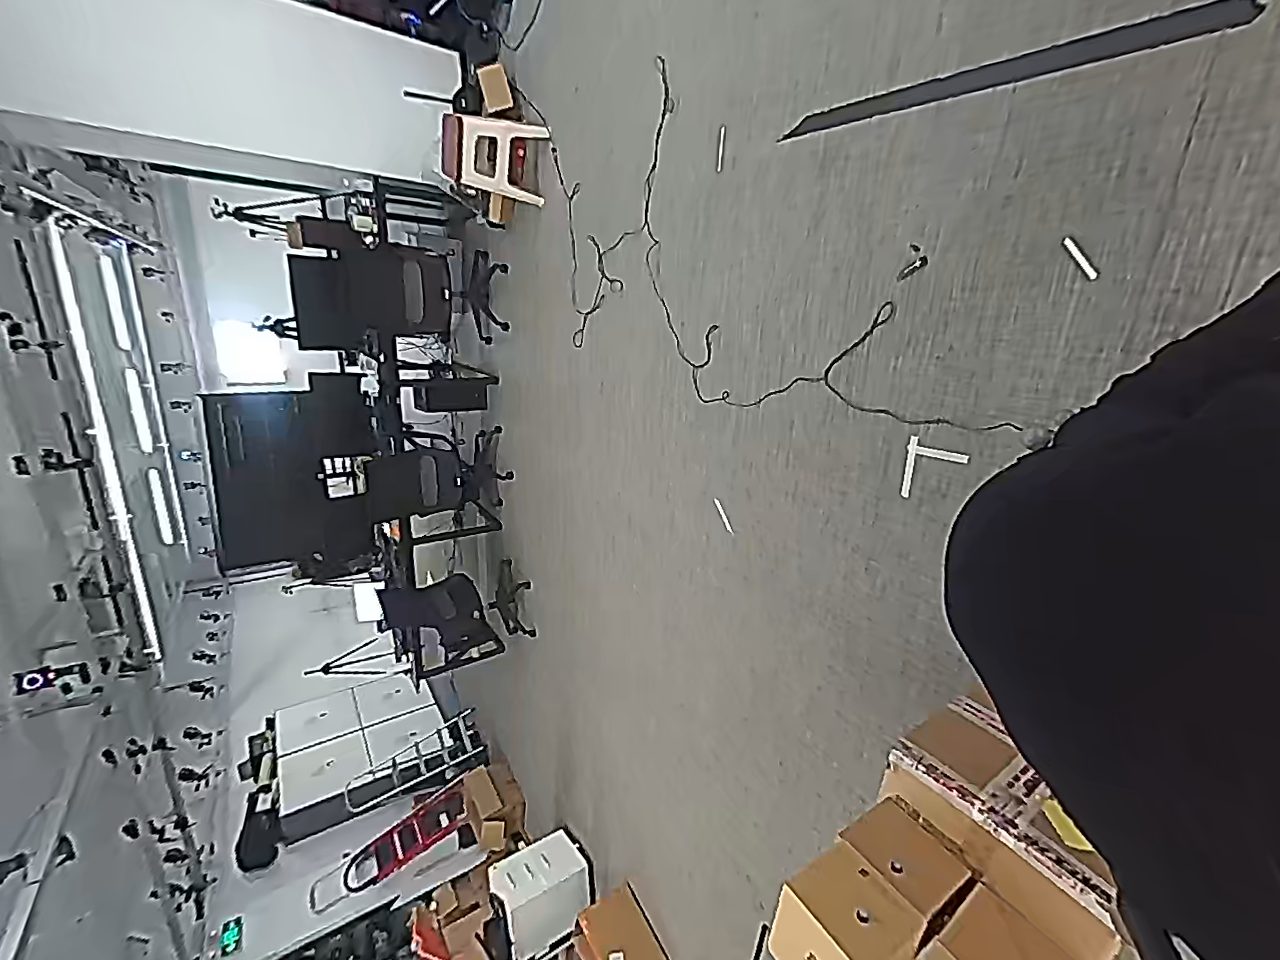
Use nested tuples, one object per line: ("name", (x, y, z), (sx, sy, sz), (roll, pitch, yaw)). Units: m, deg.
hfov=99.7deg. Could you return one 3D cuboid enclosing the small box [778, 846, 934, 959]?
("small box", (0.366, 0.779, 0.918), (0.168, 0.176, 0.179), (30, 122, 51))
